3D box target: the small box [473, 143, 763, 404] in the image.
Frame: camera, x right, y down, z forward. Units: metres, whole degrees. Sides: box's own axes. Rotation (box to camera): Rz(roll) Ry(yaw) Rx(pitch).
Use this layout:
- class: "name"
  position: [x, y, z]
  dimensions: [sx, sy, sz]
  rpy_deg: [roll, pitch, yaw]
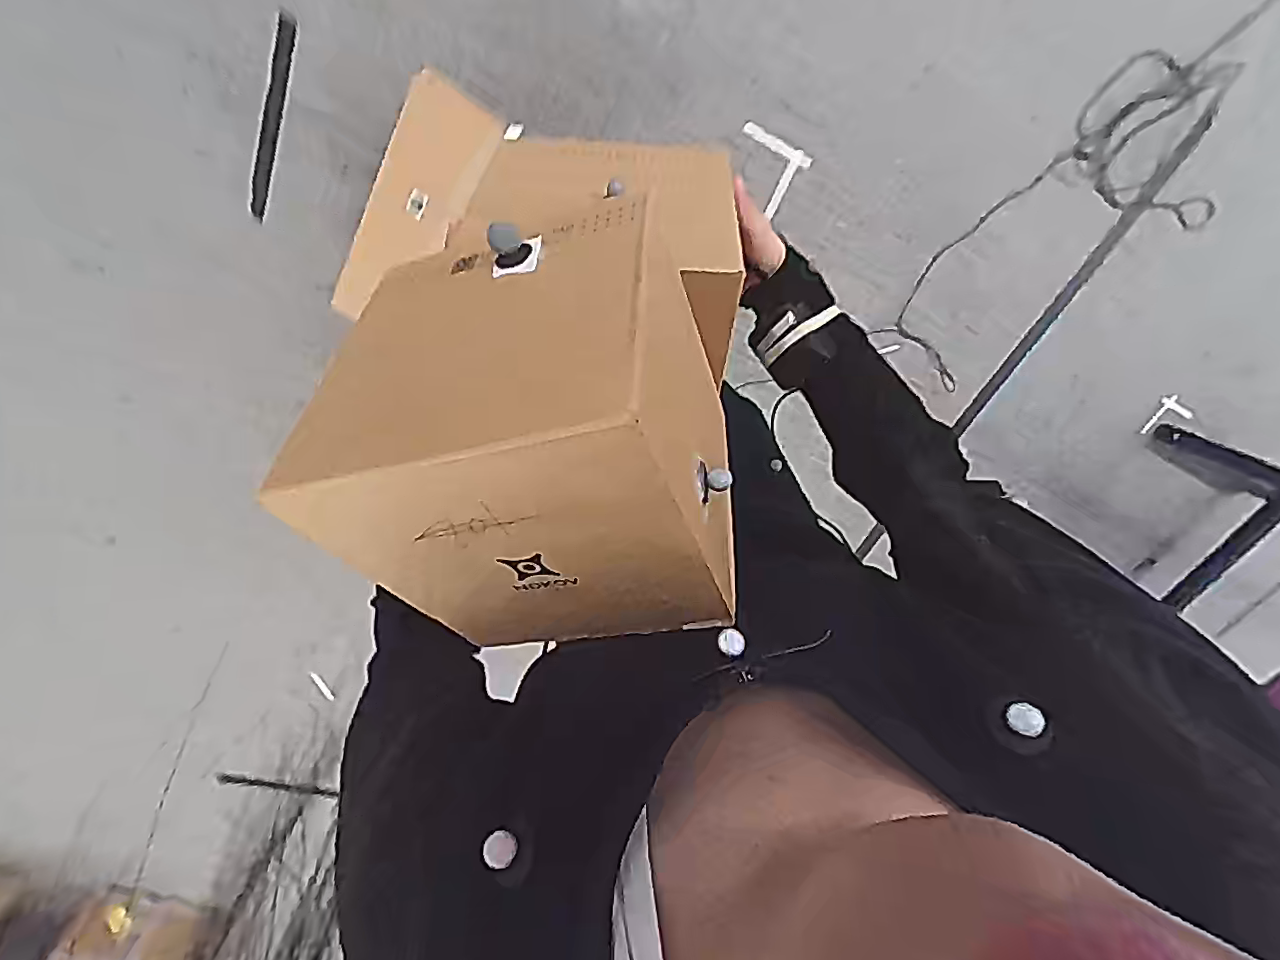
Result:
- class: "small box"
  position: [-0.016, -0.141, 0.425]
  dimensions: [0.179, 0.176, 0.168]
  rpy_deg: [2, 143, -2]

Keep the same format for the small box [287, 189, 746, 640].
- class: "small box"
  position: [-0.039, -0.025, 0.311]
  dimensions: [0.168, 0.176, 0.179]
  rpy_deg: [-11, 139, 16]
